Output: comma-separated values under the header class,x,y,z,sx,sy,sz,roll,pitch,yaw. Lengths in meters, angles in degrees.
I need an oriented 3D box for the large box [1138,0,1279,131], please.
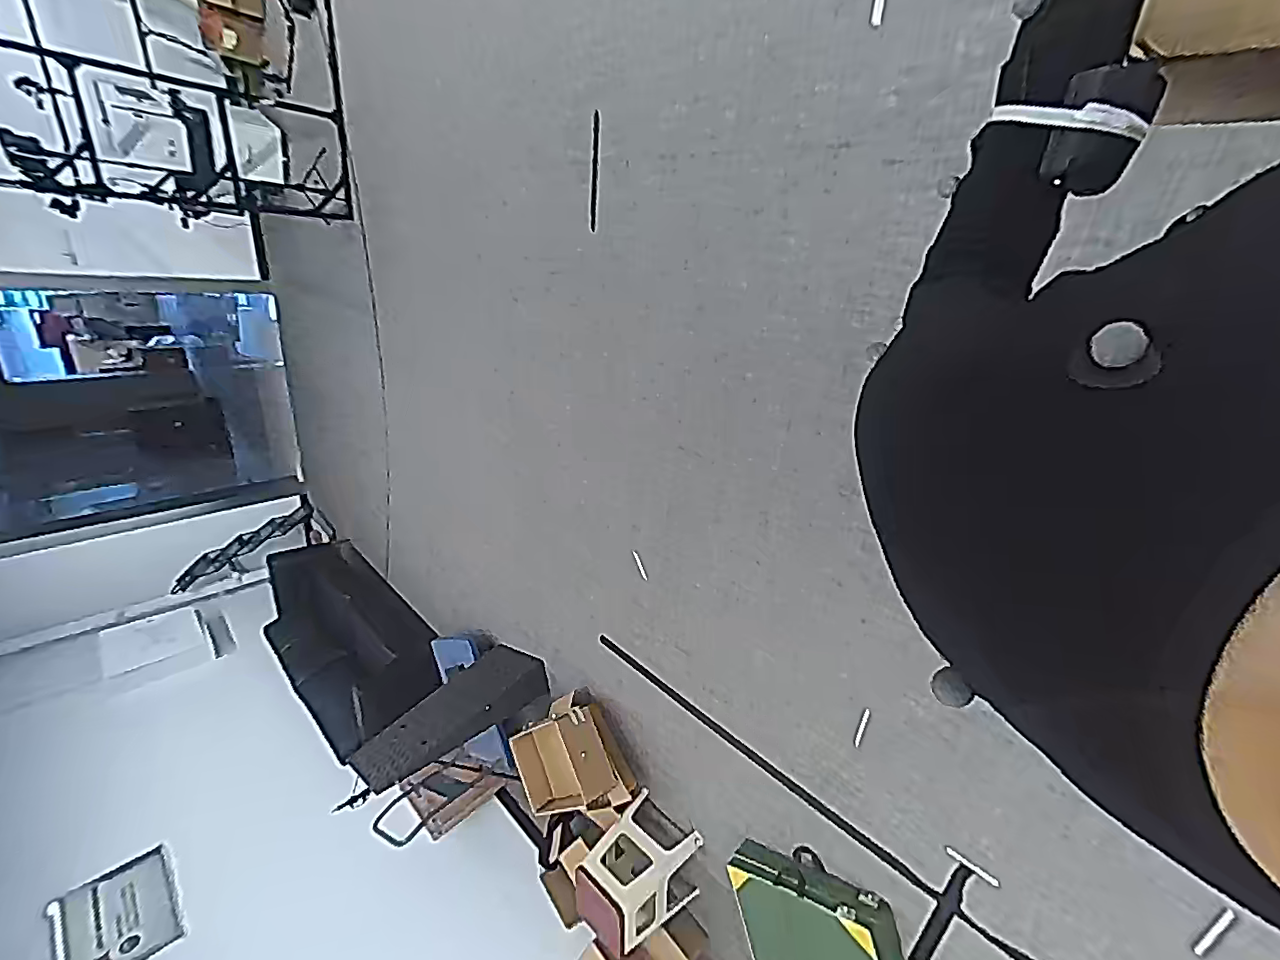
class,x,y,z,sx,sy,sz,roll,pitch,yaw
large box,0.558,-0.387,0.264,0.408,0.320,0.320,22,123,36
